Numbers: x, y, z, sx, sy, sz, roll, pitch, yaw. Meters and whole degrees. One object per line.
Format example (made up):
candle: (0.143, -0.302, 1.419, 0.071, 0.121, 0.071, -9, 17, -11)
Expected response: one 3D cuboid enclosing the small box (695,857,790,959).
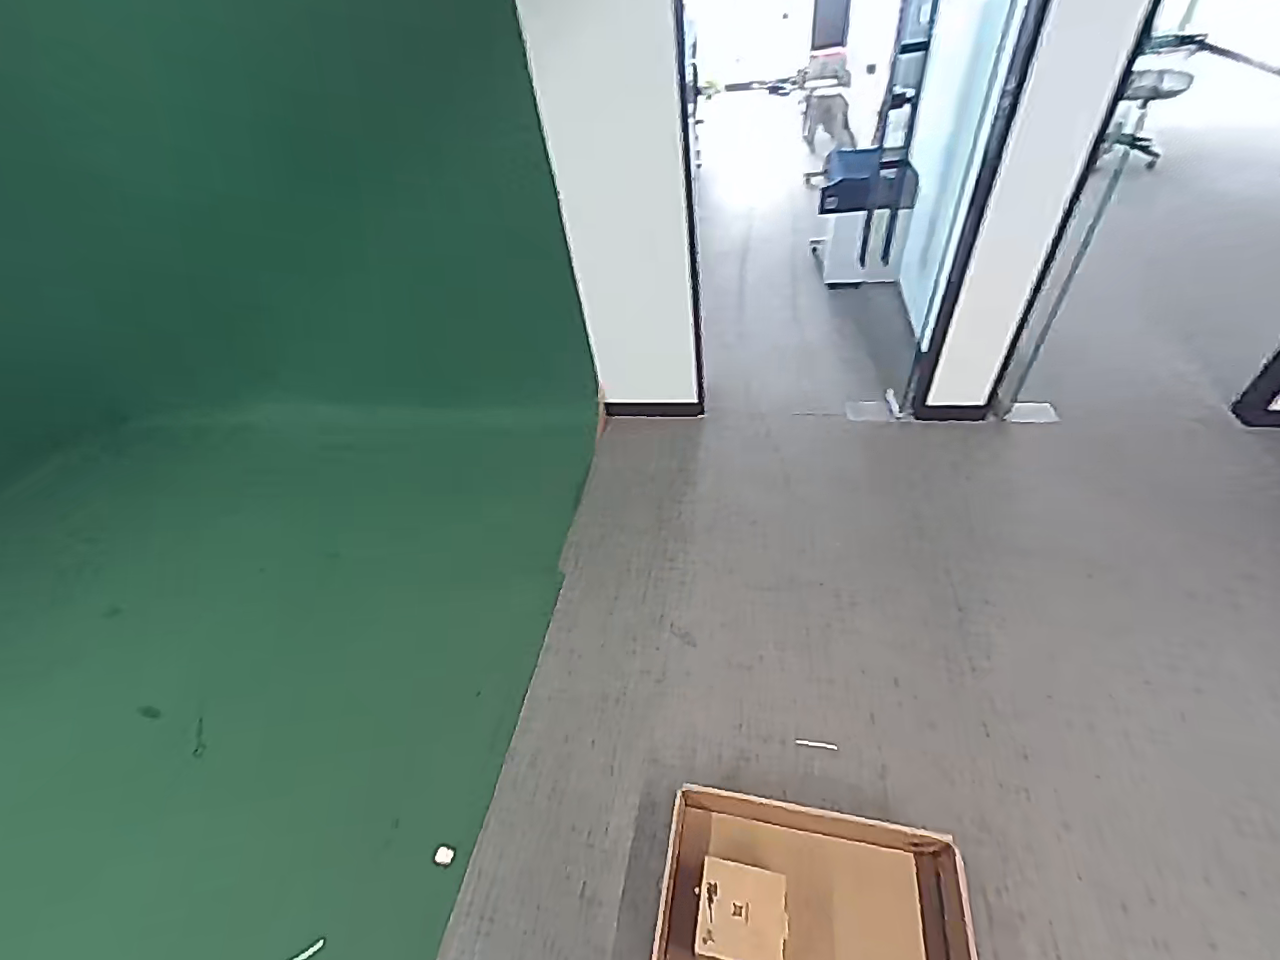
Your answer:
small box: (0.217, 0.935, 1.152, 0.179, 0.176, 0.168, 6, 46, 13)
